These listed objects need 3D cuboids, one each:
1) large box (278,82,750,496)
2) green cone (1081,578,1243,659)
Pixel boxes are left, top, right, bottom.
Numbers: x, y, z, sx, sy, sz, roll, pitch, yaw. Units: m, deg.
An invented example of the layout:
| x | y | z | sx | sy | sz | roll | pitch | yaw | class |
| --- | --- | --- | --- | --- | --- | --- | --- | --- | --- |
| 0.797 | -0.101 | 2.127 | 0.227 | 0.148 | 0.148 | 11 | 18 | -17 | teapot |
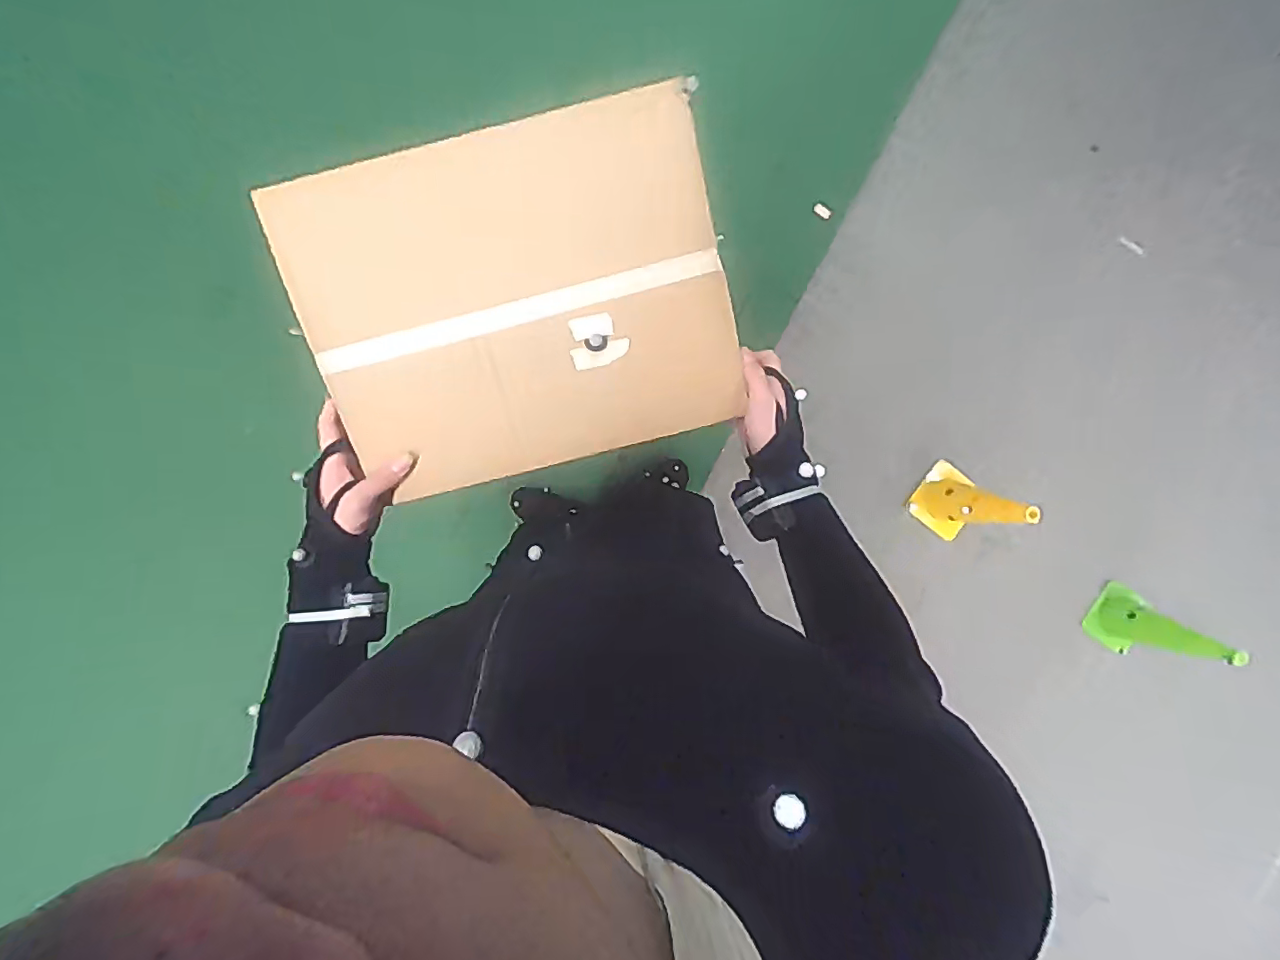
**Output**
| x | y | z | sx | sy | sz | roll | pitch | yaw | class |
| --- | --- | --- | --- | --- | --- | --- | --- | --- | --- |
| -0.119 | -0.210 | 0.677 | 0.408 | 0.320 | 0.320 | -14 | 106 | 0 | large box |
| 1.625 | 0.463 | 1.656 | 0.202 | 0.368 | 0.200 | 33 | 90 | -5 | green cone |
